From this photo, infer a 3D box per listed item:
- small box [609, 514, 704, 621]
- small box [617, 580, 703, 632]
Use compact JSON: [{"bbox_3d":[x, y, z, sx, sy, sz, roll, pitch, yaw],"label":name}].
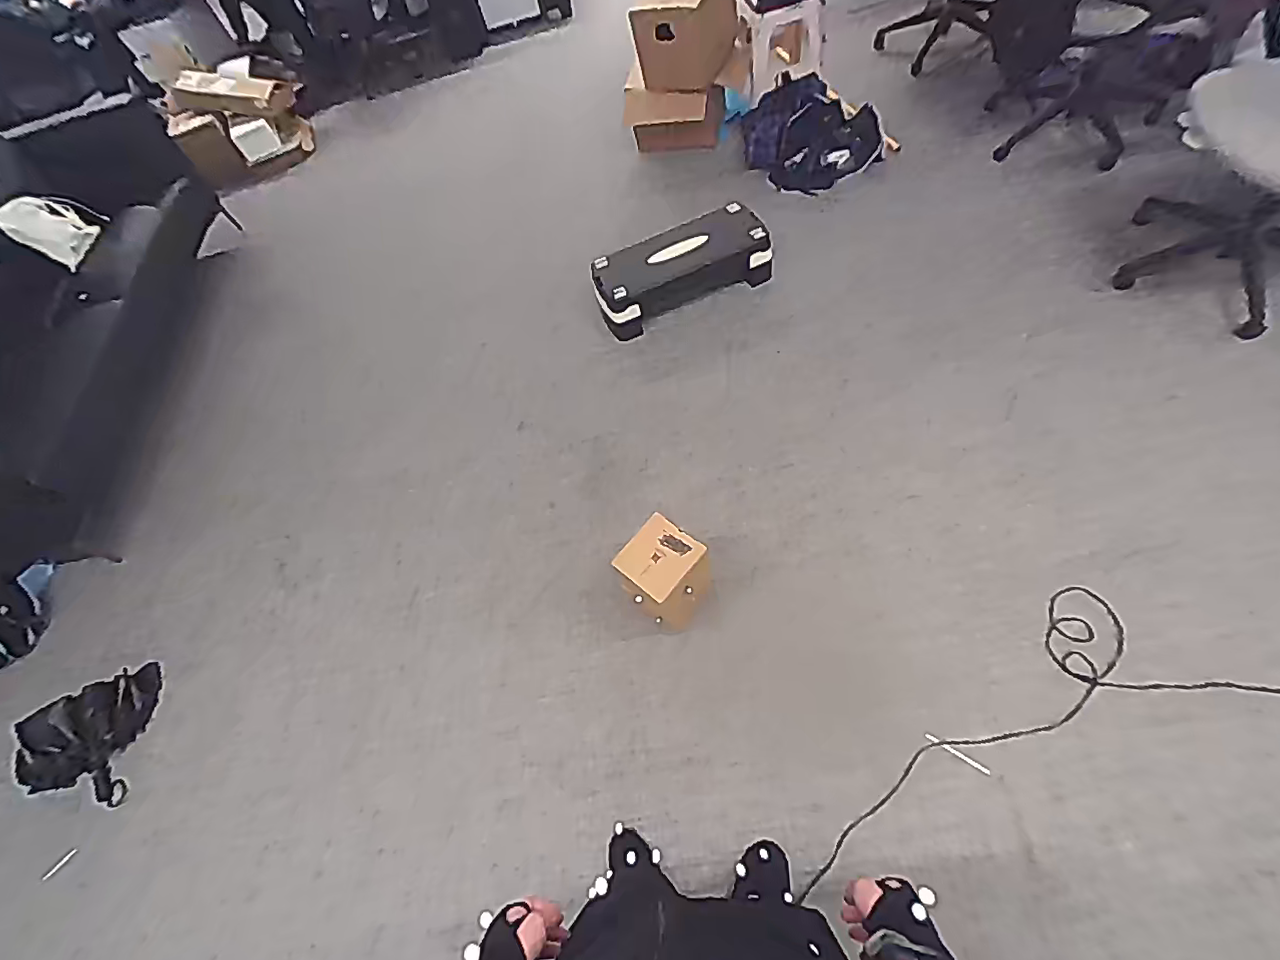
[{"bbox_3d":[0.049,0.224,1.363,0.168,0.176,0.179,35,73,27],"label":"small box"},{"bbox_3d":[0.065,0.297,1.511,0.168,0.176,0.179,27,68,24],"label":"small box"}]
